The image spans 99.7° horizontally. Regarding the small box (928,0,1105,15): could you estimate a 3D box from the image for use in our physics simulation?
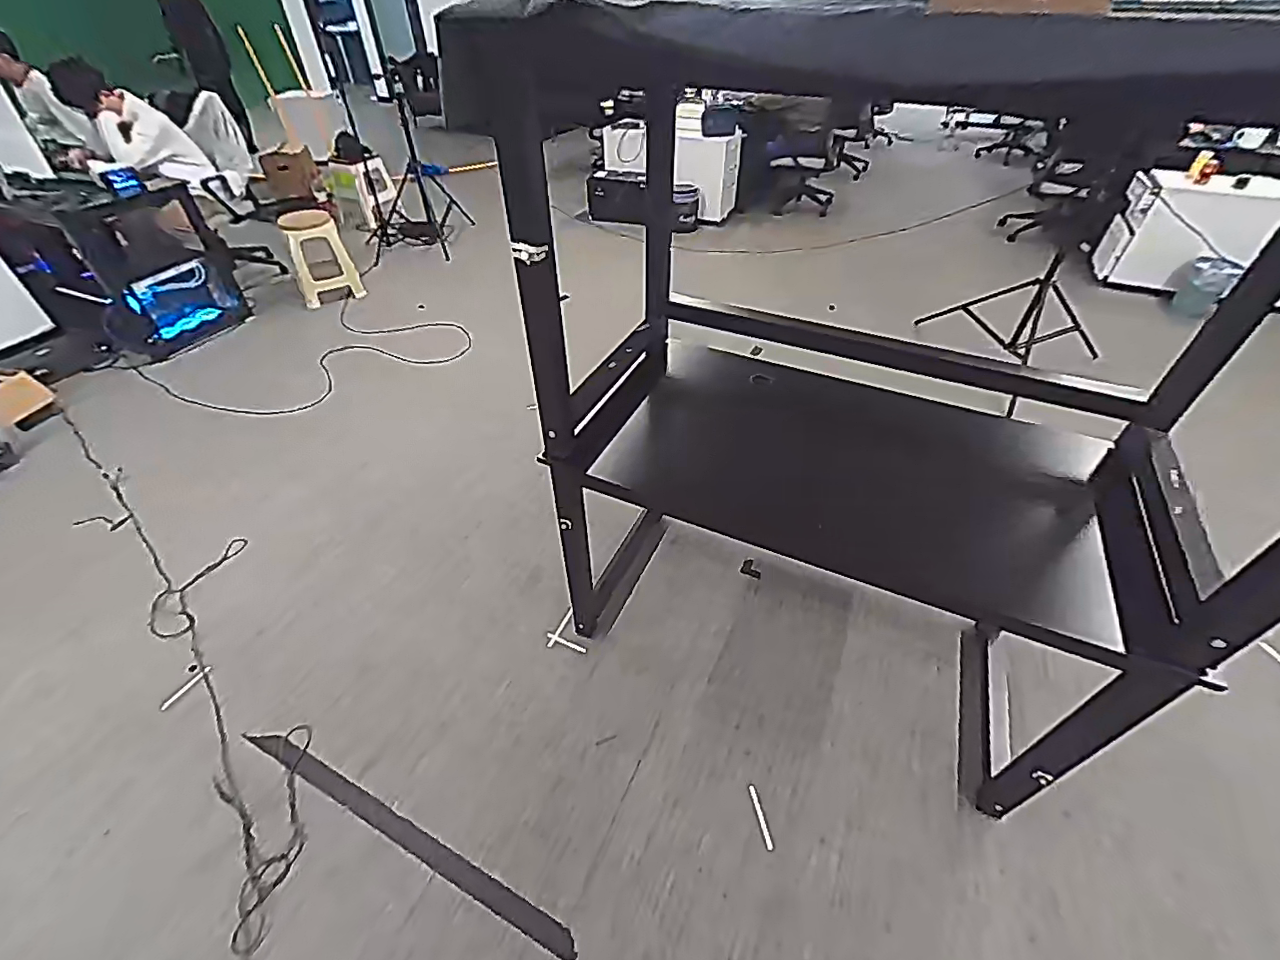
[{"bbox_3d":[0.409,-0.583,0.545,0.168,0.176,0.179,17,44,18],"label":"small box"}]
